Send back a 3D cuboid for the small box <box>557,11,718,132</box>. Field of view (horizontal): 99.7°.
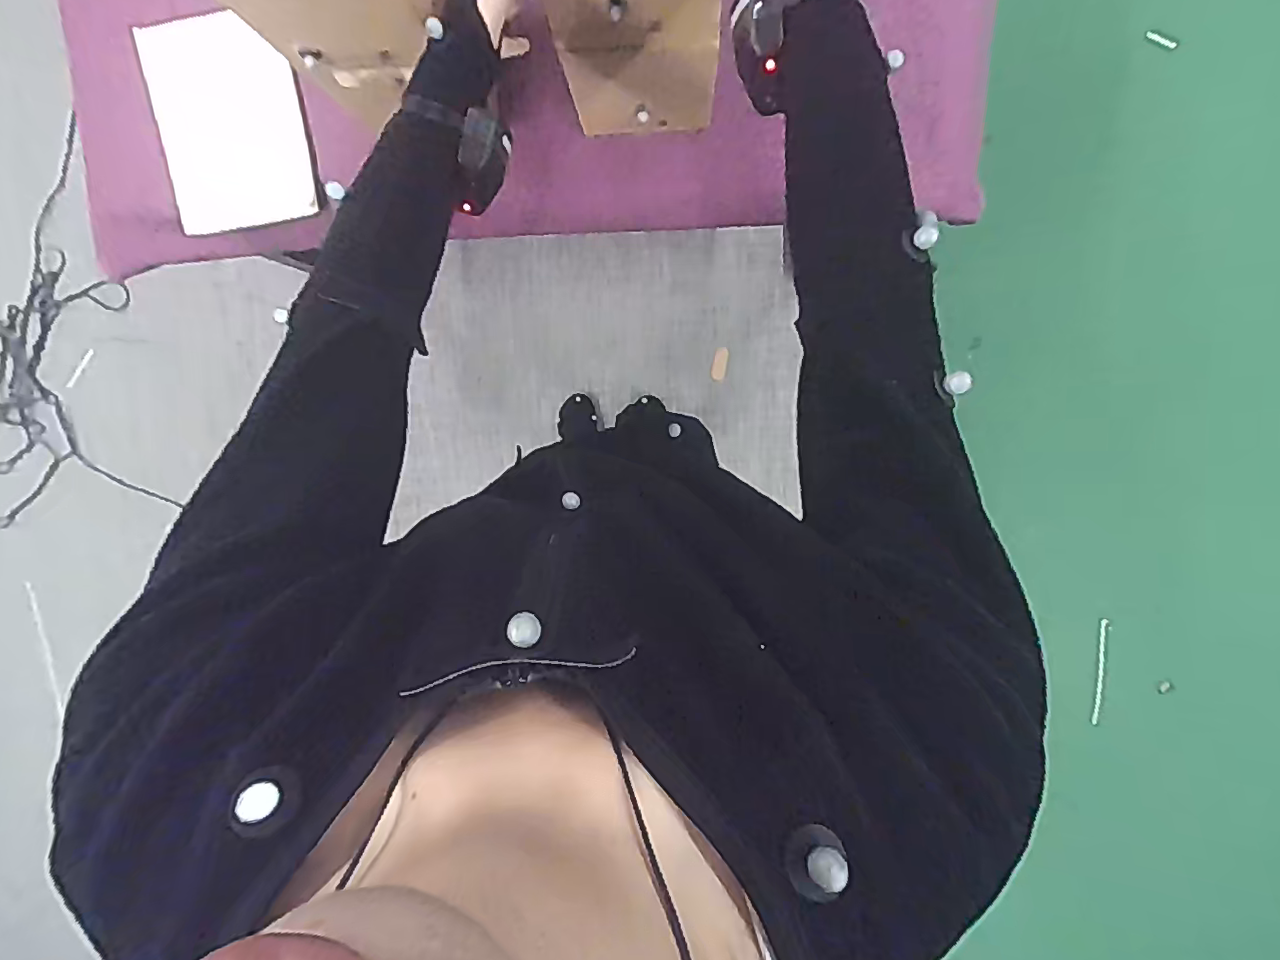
[{"bbox_3d":[0.001,-0.536,0.620,0.168,0.176,0.179,0,98,4],"label":"small box"}]

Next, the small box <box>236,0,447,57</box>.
[{"bbox_3d":[-0.281,-0.508,0.472,0.168,0.176,0.179,0,97,3],"label":"small box"}]

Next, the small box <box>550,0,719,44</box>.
[{"bbox_3d":[-0.009,-0.520,0.458,0.168,0.176,0.179,0,98,2],"label":"small box"}]

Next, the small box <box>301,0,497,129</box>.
[{"bbox_3d":[-0.274,-0.538,0.634,0.168,0.176,0.179,0,99,2],"label":"small box"}]
